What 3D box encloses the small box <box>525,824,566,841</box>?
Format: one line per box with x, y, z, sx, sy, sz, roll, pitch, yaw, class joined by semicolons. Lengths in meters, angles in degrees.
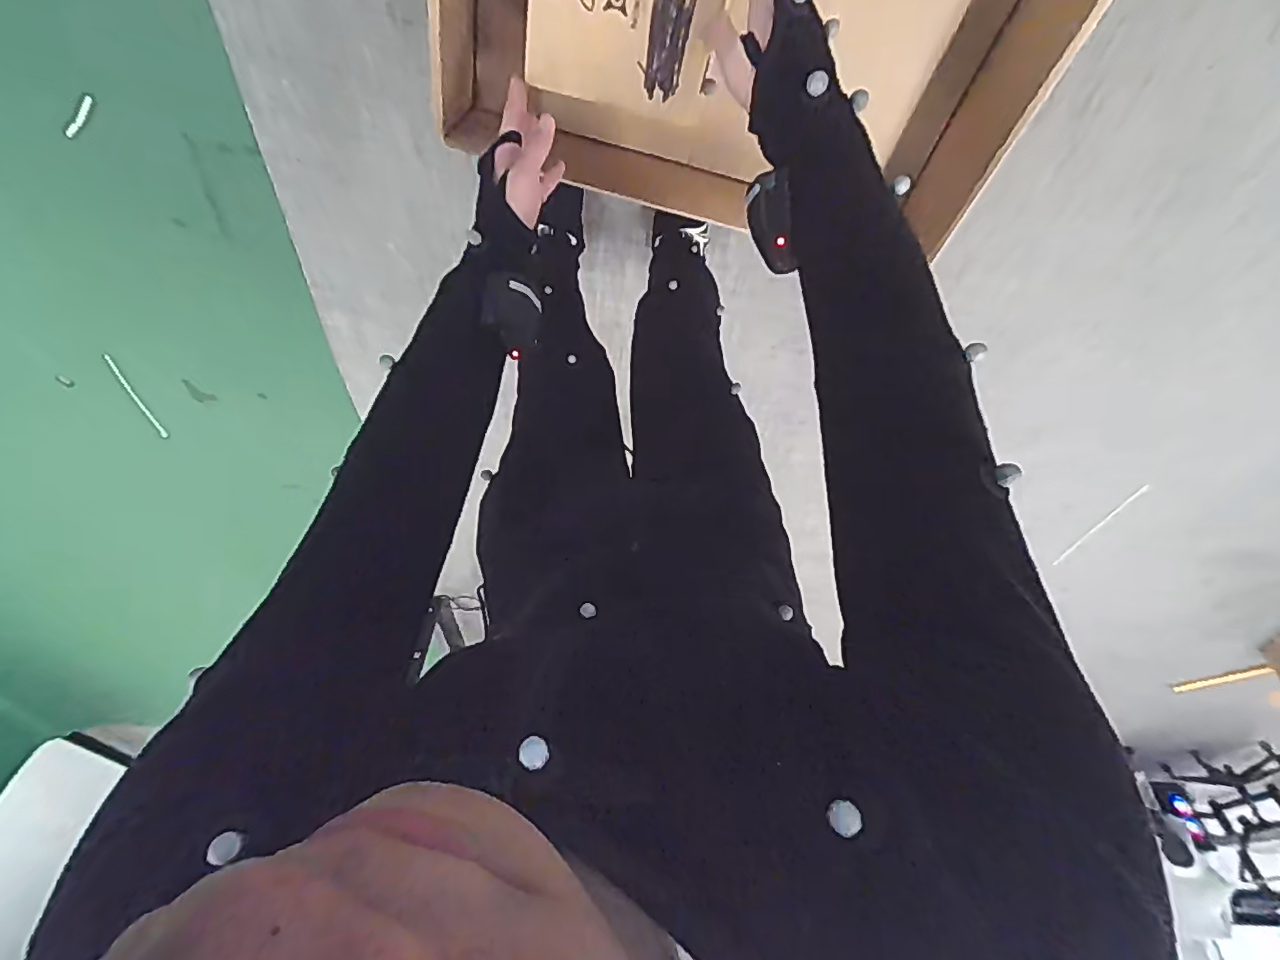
-0.392;1.425;2.315;0.168;0.176;0.179;7;137;-3;small box

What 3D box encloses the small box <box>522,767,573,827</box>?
-0.348;1.216;2.068;0.168;0.176;0.179;5;140;-3;small box
